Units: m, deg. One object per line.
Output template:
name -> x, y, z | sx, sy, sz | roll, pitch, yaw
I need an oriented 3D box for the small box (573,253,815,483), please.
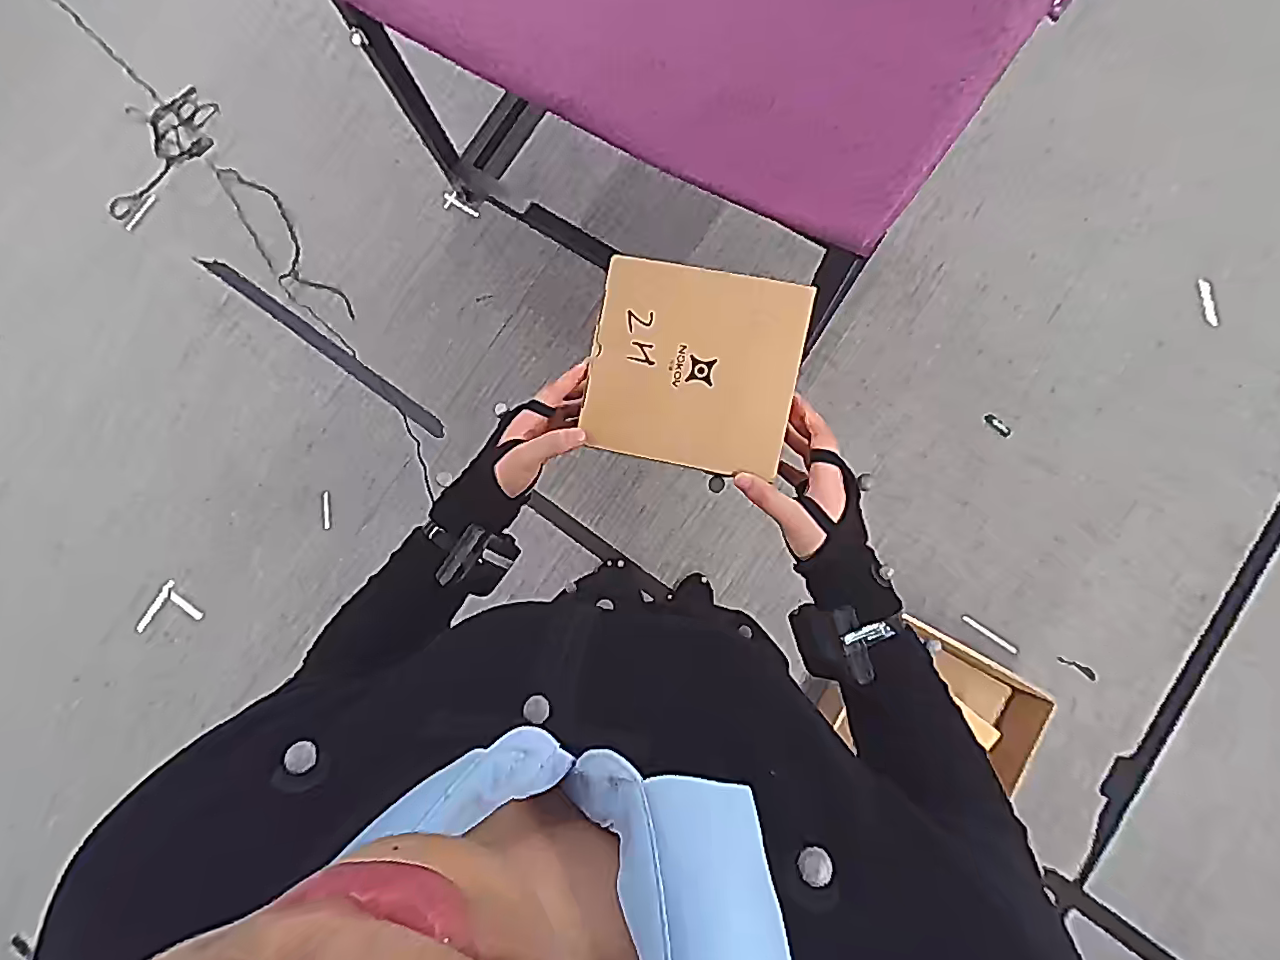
small box -> 0.051, -0.097, 0.530 | 0.179, 0.176, 0.168 | 12, 92, 7
